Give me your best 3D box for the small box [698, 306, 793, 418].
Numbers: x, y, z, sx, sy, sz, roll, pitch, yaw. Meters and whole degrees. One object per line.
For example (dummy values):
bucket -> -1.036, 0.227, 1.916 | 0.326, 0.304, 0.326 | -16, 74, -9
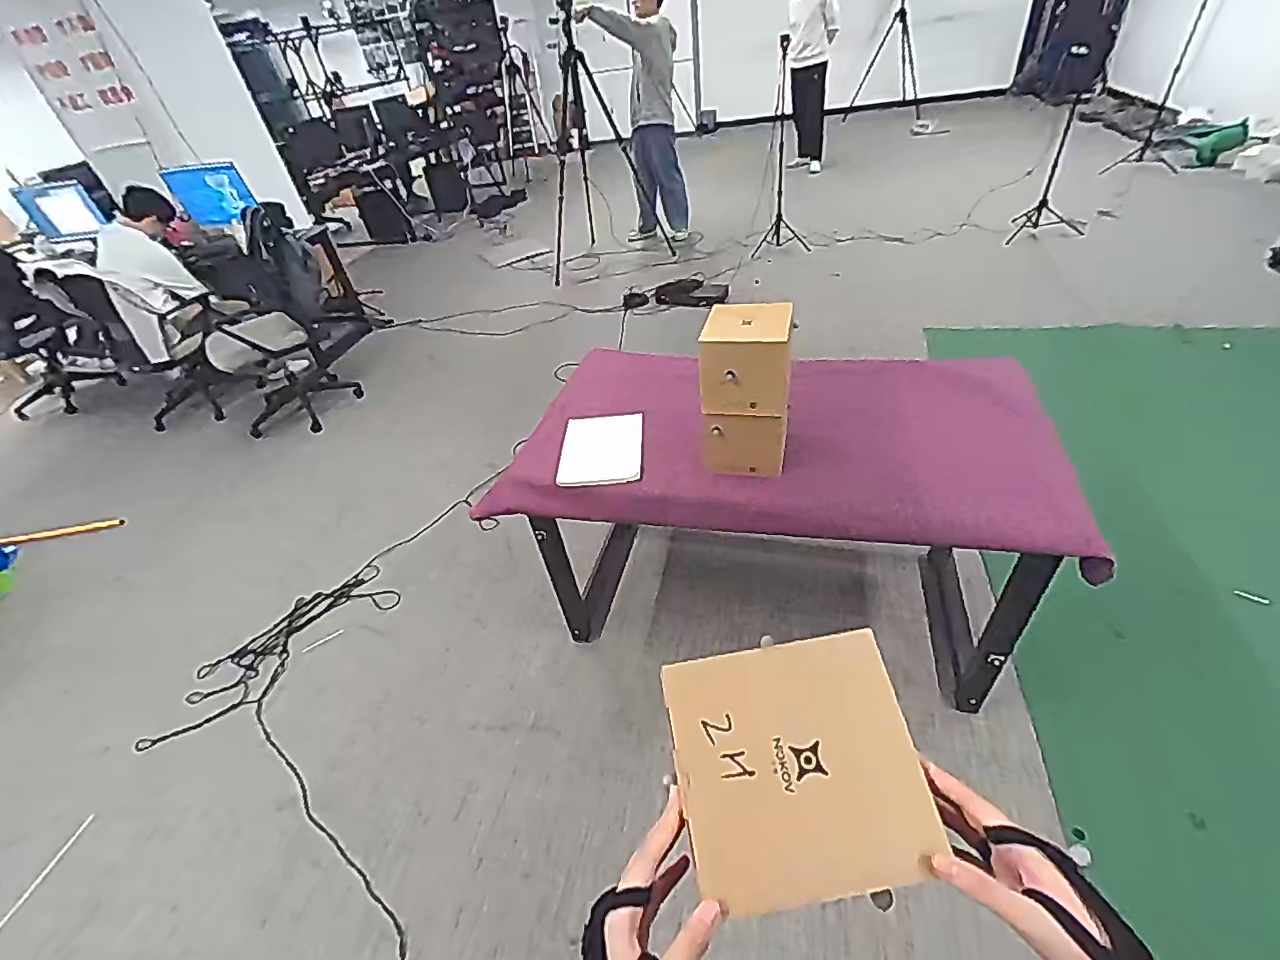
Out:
small box -> 0.220, -0.242, 1.107 | 0.168, 0.176, 0.179 | 5, 40, 17

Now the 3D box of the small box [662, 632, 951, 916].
small box -> 0.118, 0.243, 0.467 | 0.179, 0.176, 0.168 | -10, 61, -1
